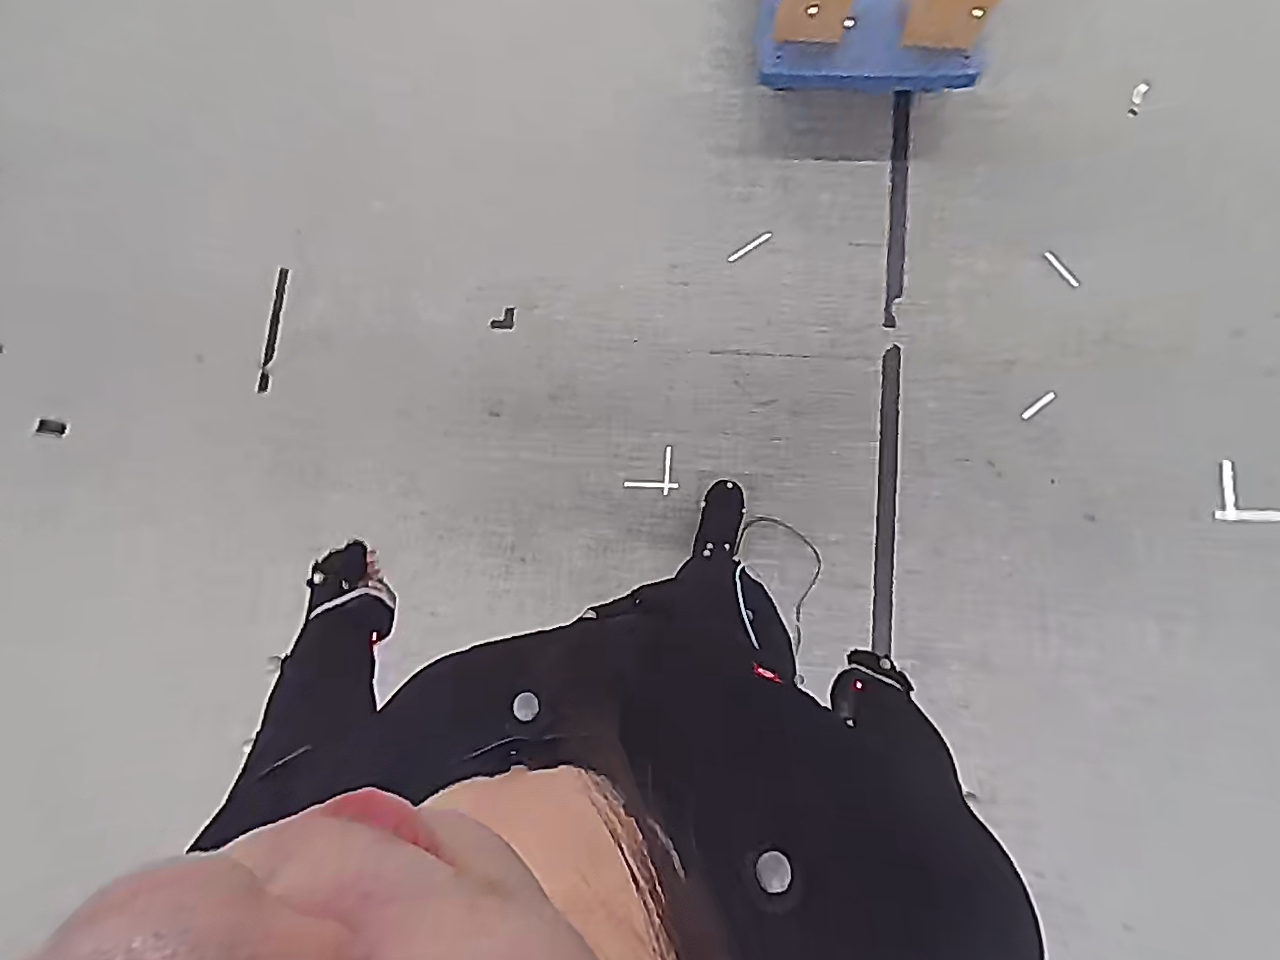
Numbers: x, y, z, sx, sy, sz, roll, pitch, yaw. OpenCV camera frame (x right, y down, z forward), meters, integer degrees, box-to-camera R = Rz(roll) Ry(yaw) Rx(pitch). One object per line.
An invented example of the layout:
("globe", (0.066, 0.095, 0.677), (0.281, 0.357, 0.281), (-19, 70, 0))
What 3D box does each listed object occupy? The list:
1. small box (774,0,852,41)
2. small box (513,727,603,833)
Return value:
("small box", (0.445, -1.248, 1.354), (0.179, 0.176, 0.168), (8, 84, 6))
("small box", (-0.201, 0.759, 1.389), (0.179, 0.176, 0.168), (13, 85, 6))
